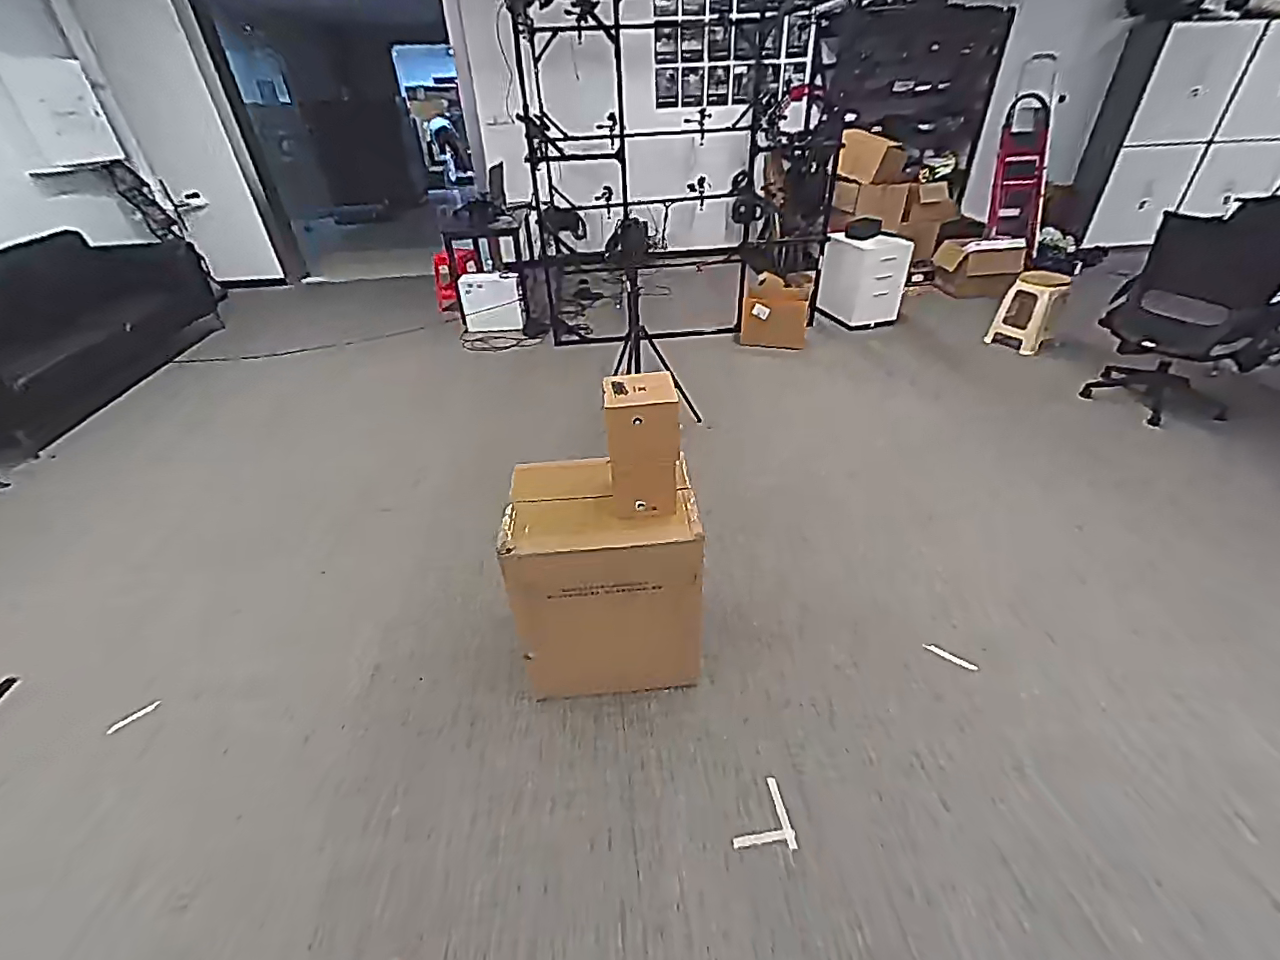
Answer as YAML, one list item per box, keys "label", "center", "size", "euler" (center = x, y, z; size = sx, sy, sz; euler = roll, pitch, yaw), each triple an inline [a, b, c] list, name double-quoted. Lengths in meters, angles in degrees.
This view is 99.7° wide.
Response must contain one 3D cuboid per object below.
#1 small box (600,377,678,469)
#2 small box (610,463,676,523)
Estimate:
- label: "small box"
  center: [-0.002, -0.140, 1.356]
  size: [0.179, 0.176, 0.168]
  euler: [-6, 36, -2]
- label: "small box"
  center: [0.005, -0.007, 1.453]
  size: [0.168, 0.176, 0.179]
  euler: [-7, 37, -2]
